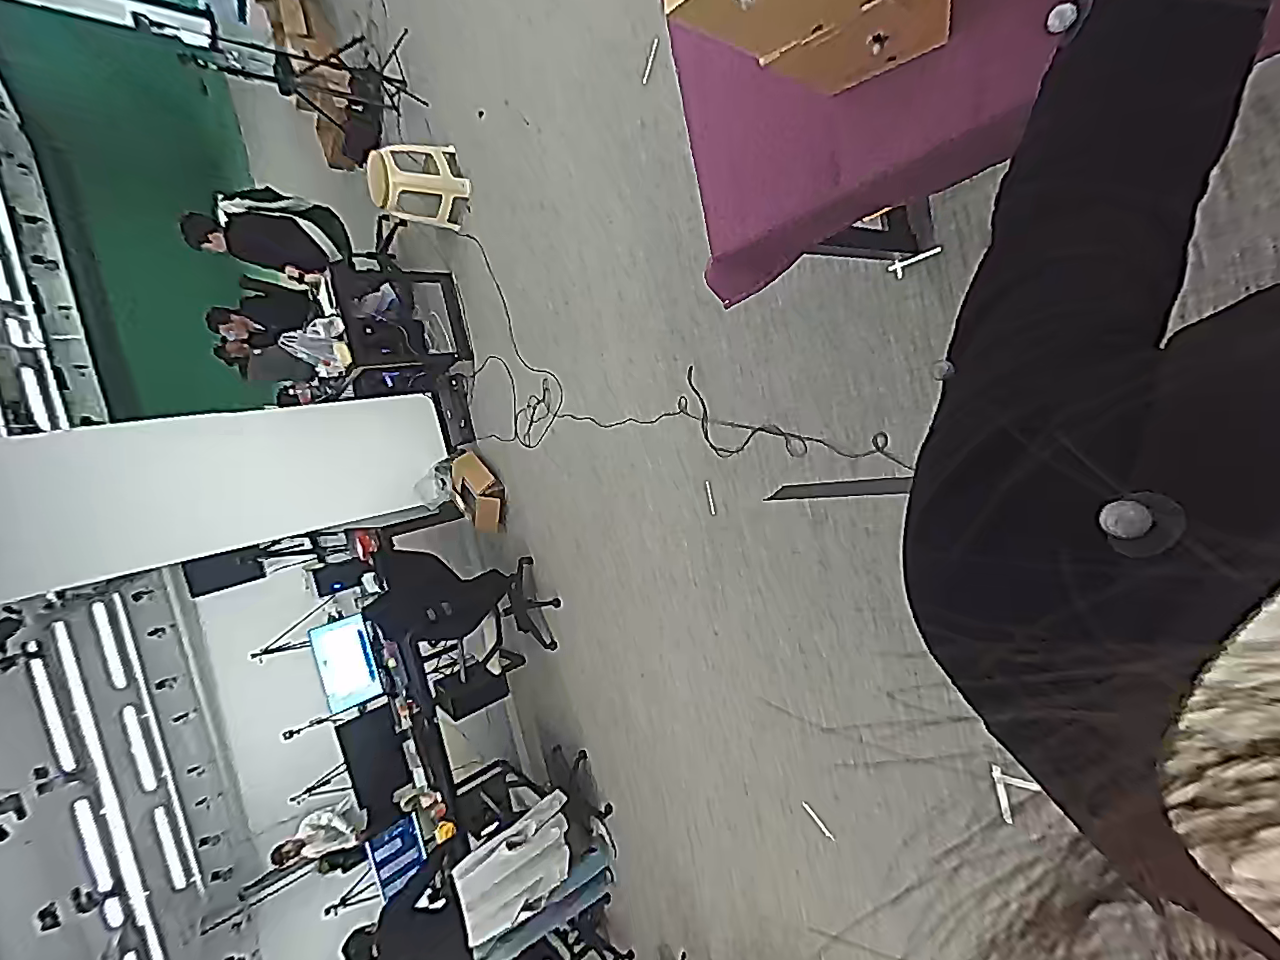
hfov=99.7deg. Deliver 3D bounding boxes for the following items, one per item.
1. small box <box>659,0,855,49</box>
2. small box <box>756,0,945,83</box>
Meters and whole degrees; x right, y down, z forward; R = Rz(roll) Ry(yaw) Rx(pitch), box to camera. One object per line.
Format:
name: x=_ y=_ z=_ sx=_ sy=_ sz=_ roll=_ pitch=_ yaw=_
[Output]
small box: x=0.133 y=-0.580 z=0.544 sx=0.179 sy=0.176 sz=0.168 roll=12 pitch=112 yaw=47
small box: x=0.254 y=-0.613 z=0.651 sx=0.168 sy=0.176 sz=0.179 roll=11 pitch=110 yaw=48
